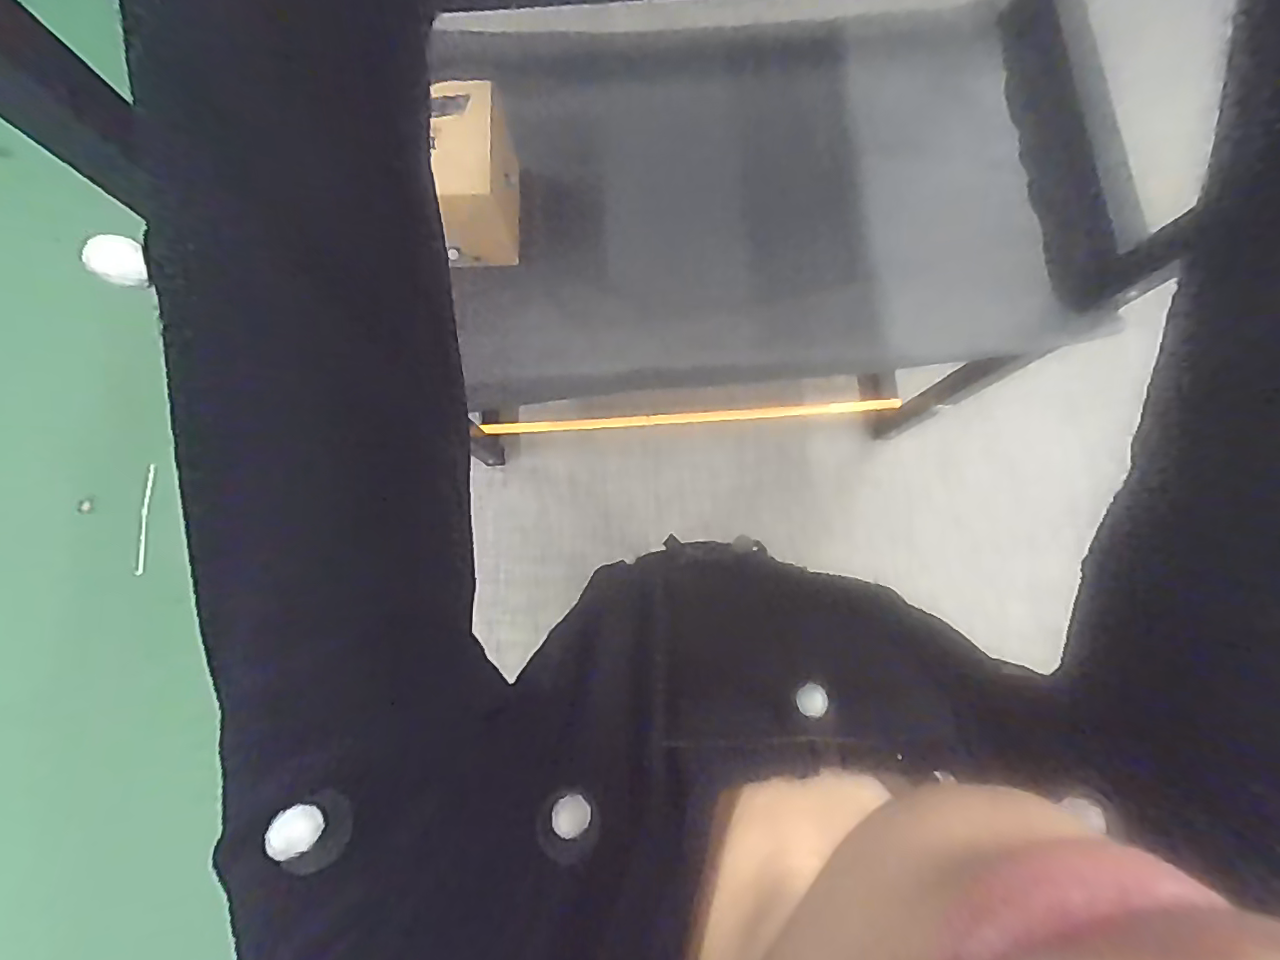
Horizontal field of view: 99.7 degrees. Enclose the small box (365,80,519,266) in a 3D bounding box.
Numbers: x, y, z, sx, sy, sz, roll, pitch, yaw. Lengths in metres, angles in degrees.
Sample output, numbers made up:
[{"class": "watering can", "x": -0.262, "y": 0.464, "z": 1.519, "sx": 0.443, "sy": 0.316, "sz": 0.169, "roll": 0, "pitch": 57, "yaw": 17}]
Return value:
[{"class": "small box", "x": -0.279, "y": -0.442, "z": 0.797, "sx": 0.168, "sy": 0.176, "sz": 0.179, "roll": -3, "pitch": 81, "yaw": 0}]
